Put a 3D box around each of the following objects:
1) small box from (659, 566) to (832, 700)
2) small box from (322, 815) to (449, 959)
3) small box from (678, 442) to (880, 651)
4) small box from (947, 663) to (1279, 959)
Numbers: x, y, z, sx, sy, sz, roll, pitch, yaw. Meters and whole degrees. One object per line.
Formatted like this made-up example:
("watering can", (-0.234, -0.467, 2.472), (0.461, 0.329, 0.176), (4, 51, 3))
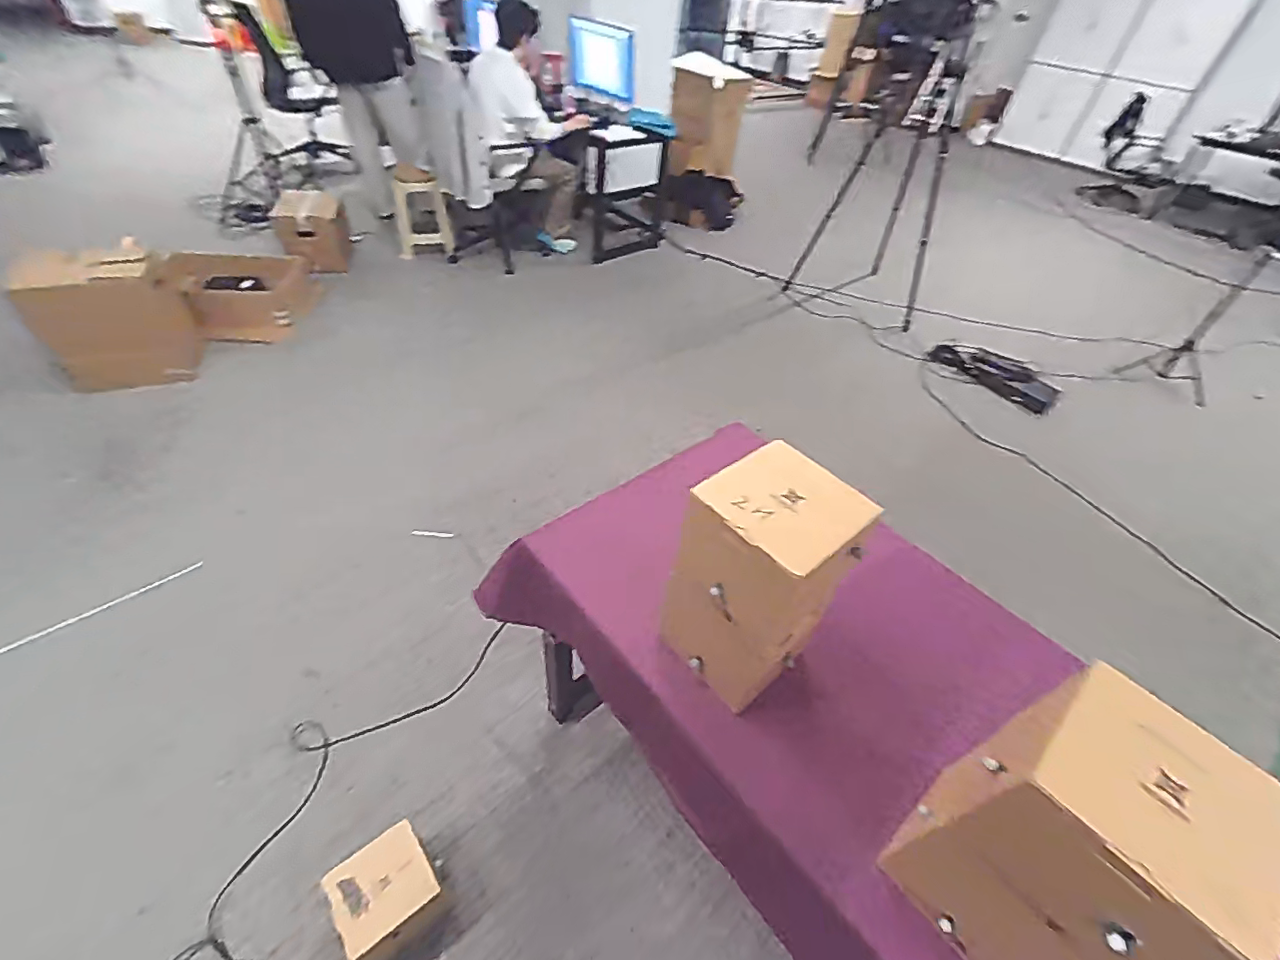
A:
("small box", (0.149, 0.205, 0.822), (0.168, 0.176, 0.179), (-29, 56, -32))
("small box", (-0.519, 0.850, 1.120), (0.179, 0.176, 0.168), (-26, 53, -31))
("small box", (0.169, 0.085, 0.709), (0.179, 0.176, 0.168), (-28, 54, -31))
("small box", (0.428, 0.319, 0.508), (0.179, 0.176, 0.168), (-28, 54, -31))
